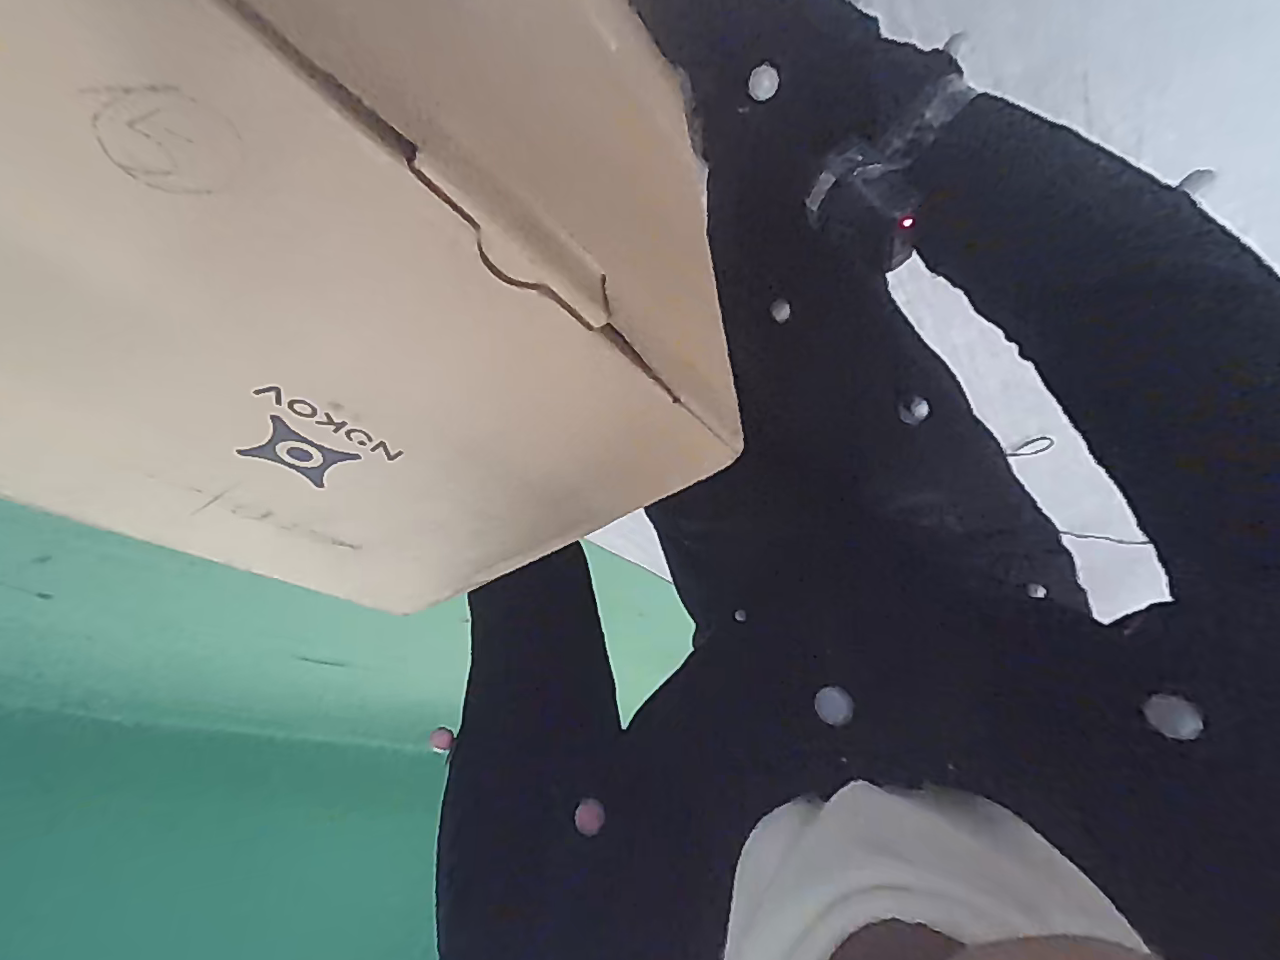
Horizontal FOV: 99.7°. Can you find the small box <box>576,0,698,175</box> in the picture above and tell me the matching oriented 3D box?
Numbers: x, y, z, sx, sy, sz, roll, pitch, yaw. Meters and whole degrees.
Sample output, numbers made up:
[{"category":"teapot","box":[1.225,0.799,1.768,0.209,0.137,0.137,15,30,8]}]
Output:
[{"category":"small box","box":[-0.091,-0.219,0.300,0.179,0.176,0.168,-27,138,30]}]
